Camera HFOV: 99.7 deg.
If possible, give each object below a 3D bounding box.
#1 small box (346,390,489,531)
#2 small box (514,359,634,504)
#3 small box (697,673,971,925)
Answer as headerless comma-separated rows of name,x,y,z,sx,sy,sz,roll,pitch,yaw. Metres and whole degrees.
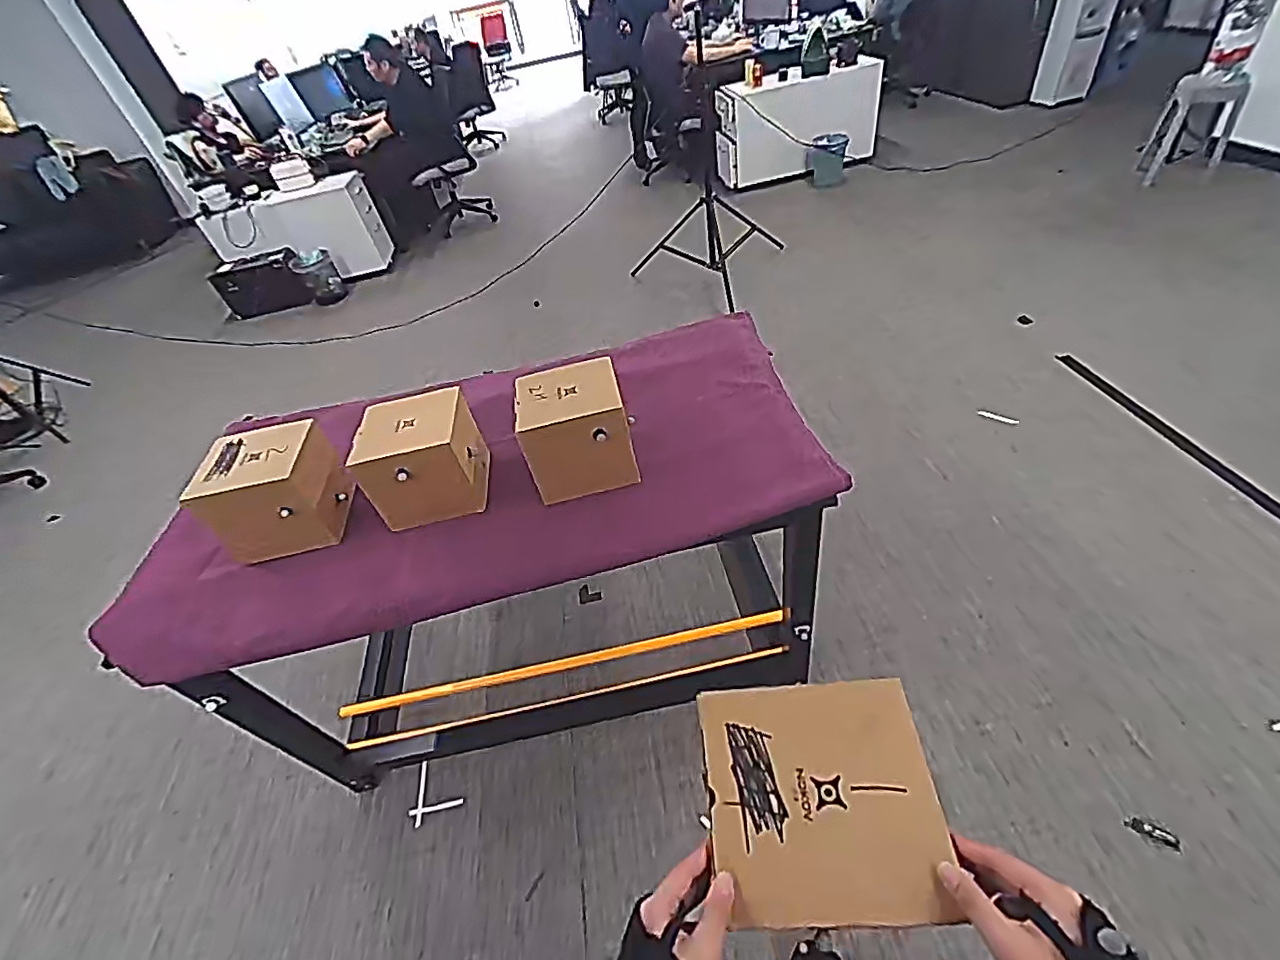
small box,-0.384,-0.032,0.974,0.179,0.176,0.168,-14,44,1
small box,-0.111,-0.084,0.954,0.179,0.176,0.168,-14,42,0
small box,0.151,0.288,0.480,0.179,0.176,0.168,-7,50,7
